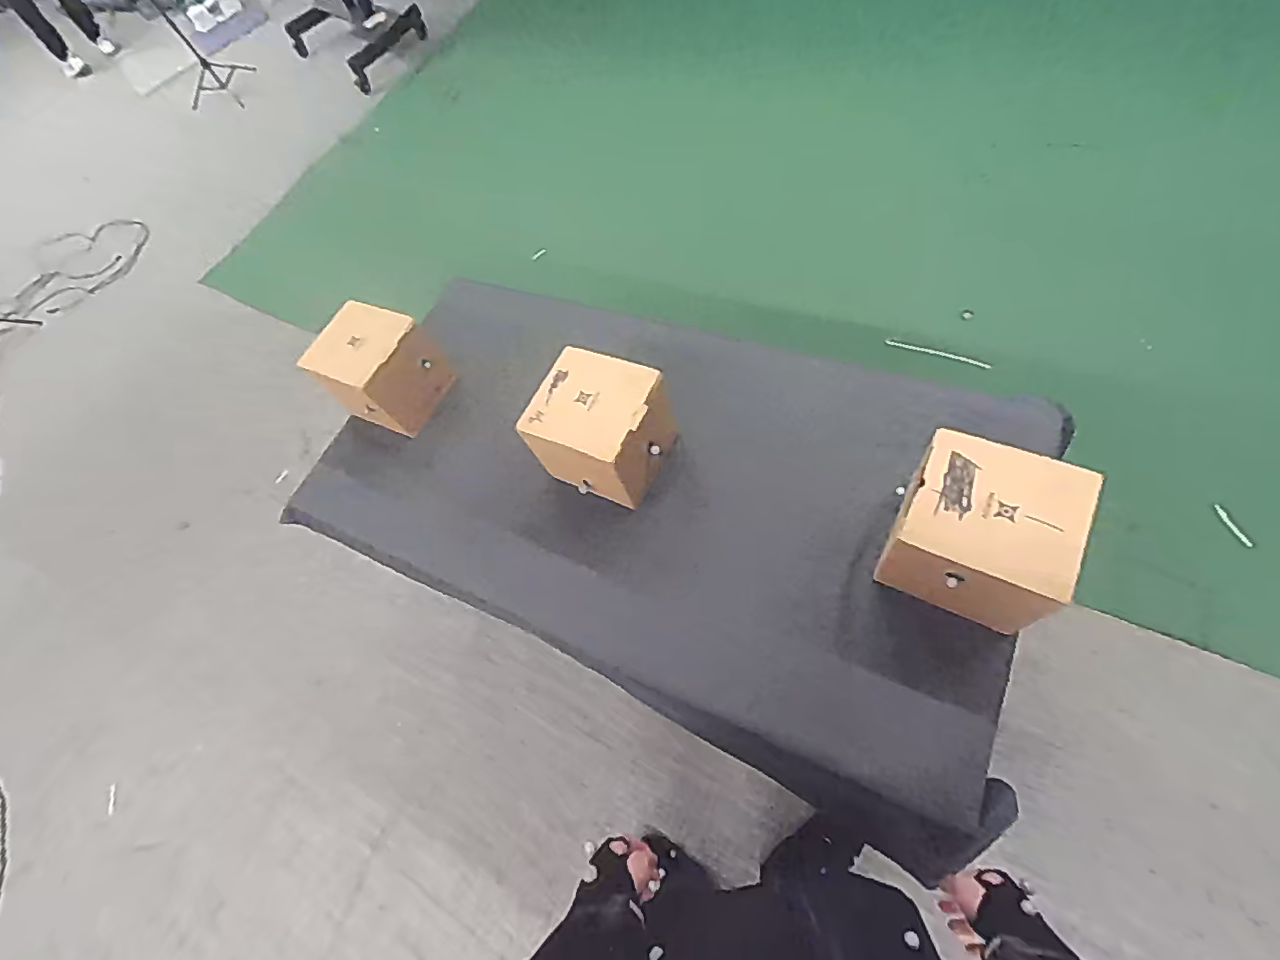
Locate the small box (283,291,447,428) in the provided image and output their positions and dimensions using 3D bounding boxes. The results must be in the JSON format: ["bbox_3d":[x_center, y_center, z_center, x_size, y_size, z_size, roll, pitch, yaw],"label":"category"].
[{"bbox_3d":[-0.498,-0.219,1.008,0.179,0.176,0.168,19,66,20],"label":"small box"}]

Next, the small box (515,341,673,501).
[{"bbox_3d":[-0.060,-0.085,0.858,0.179,0.176,0.168,21,68,19],"label":"small box"}]

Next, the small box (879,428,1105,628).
[{"bbox_3d":[0.427,0.068,0.685,0.179,0.176,0.168,23,69,20],"label":"small box"}]
